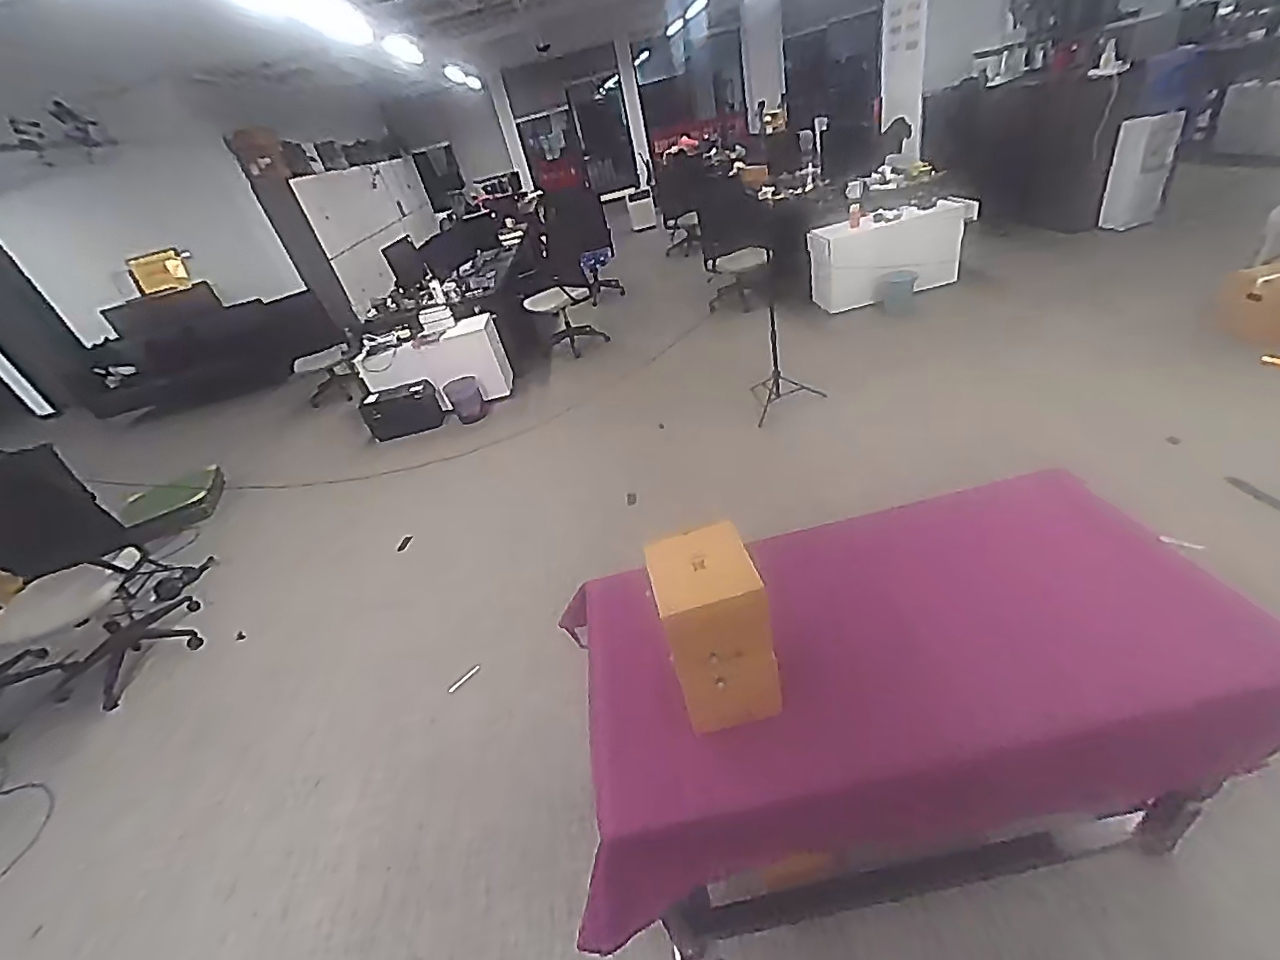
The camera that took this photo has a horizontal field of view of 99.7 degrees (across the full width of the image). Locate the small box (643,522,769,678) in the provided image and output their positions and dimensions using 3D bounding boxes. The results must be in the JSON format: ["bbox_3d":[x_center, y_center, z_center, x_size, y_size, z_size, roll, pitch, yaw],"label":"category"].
[{"bbox_3d":[0.111,0.203,0.926,0.168,0.176,0.179,-16,34,-1],"label":"small box"}]

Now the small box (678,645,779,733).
[{"bbox_3d":[0.151,0.335,1.014,0.168,0.176,0.179,-15,33,0],"label":"small box"}]
